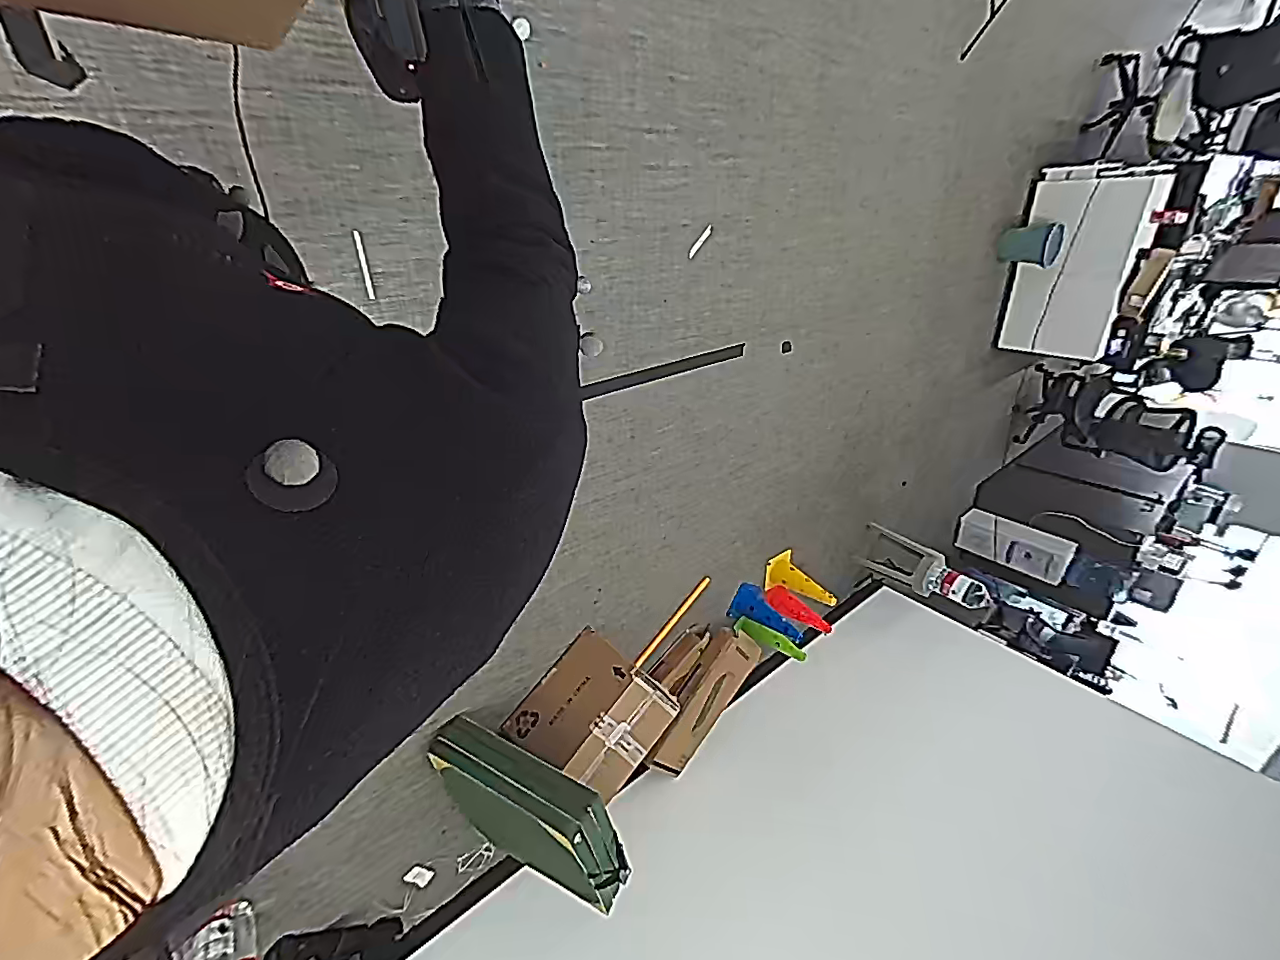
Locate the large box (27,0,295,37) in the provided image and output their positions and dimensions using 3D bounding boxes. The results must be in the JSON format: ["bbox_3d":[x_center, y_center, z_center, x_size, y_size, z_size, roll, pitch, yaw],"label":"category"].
[{"bbox_3d":[-0.411,-0.447,0.234,0.408,0.320,0.320,-18,124,-34],"label":"large box"}]
